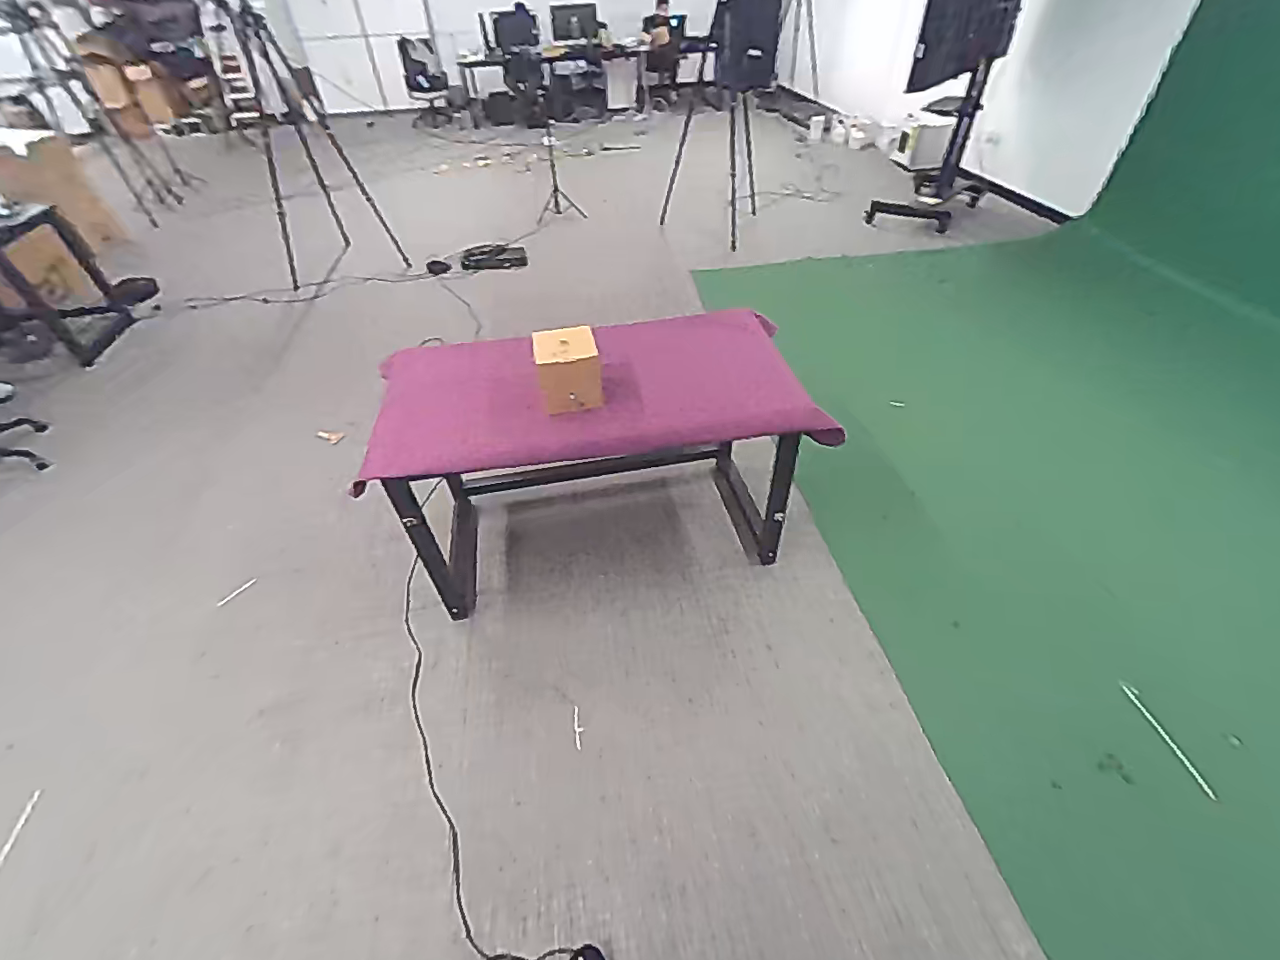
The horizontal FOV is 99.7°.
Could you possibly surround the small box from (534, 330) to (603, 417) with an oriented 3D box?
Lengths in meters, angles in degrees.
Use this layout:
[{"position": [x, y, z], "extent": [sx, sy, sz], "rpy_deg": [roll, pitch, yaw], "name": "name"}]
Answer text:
[{"position": [-0.202, -0.301, 1.528], "extent": [0.168, 0.176, 0.179], "rpy_deg": [-10, 44, -6], "name": "small box"}]
